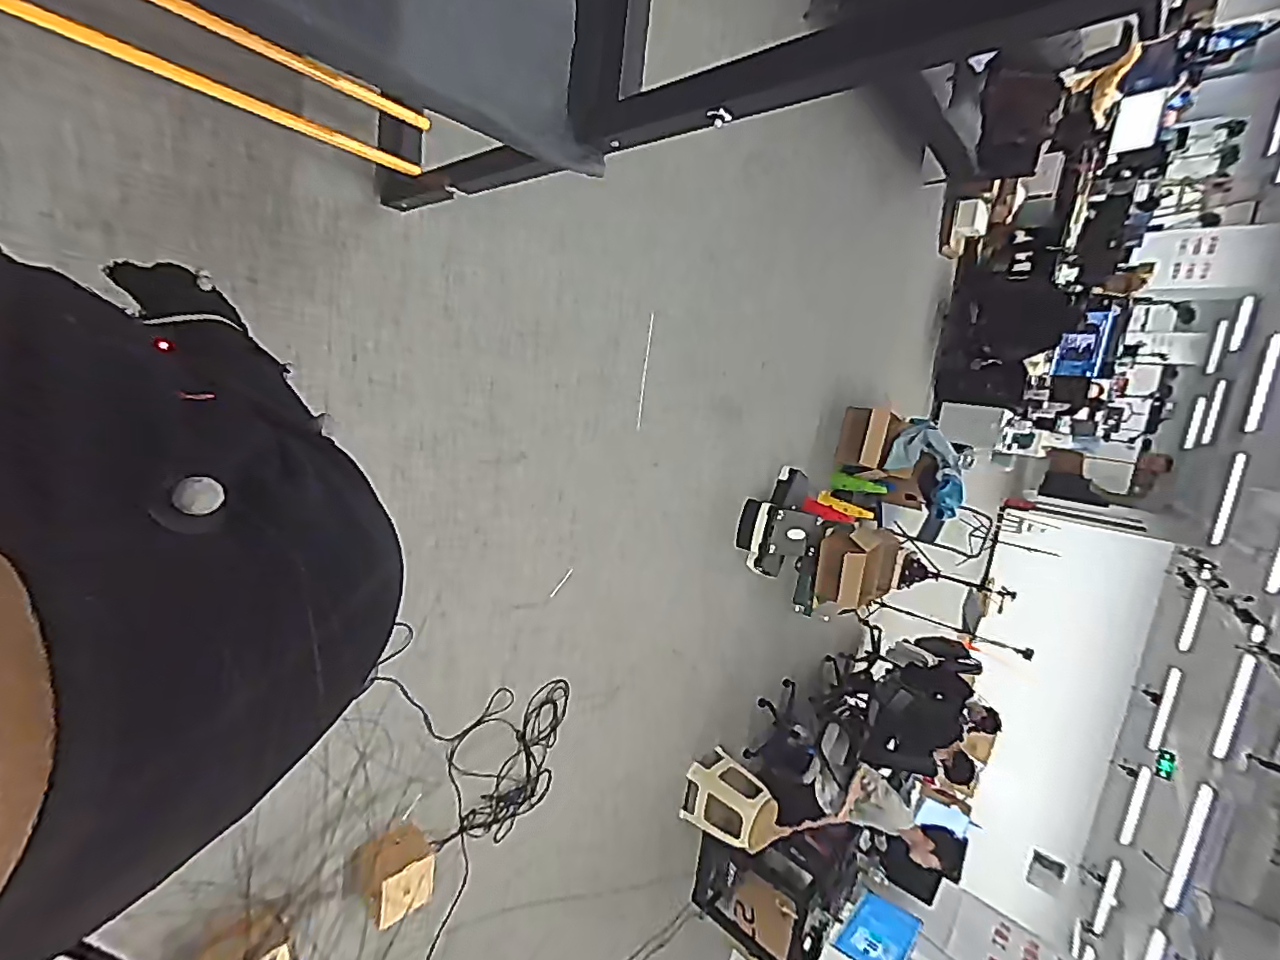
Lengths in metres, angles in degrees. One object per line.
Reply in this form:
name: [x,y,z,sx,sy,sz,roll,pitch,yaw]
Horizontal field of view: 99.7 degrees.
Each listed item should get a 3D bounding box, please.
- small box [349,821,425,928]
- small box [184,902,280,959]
small box: [-0.803,1.237,1.710,0.168,0.176,0.179,-3,103,-49]
small box: [-1.067,1.254,1.405,0.168,0.176,0.179,5,98,-50]
